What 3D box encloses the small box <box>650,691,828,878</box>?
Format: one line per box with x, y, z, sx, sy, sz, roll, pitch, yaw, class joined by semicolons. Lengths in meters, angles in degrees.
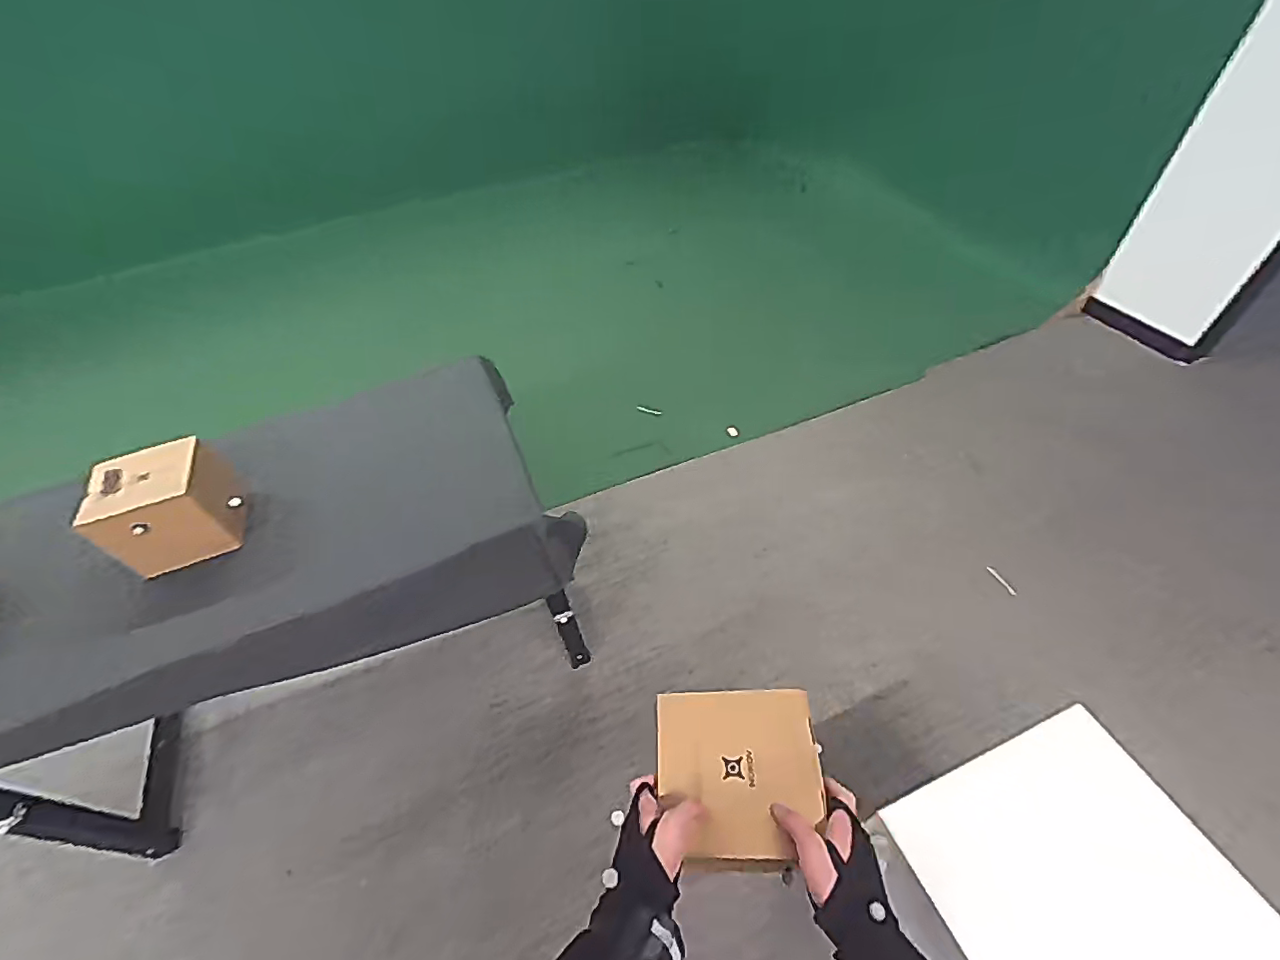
0.111;0.362;0.639;0.179;0.176;0.168;-8;50;9;small box

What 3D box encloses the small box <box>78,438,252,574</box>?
-0.892;0.053;1.037;0.179;0.176;0.168;-19;50;-12;small box
